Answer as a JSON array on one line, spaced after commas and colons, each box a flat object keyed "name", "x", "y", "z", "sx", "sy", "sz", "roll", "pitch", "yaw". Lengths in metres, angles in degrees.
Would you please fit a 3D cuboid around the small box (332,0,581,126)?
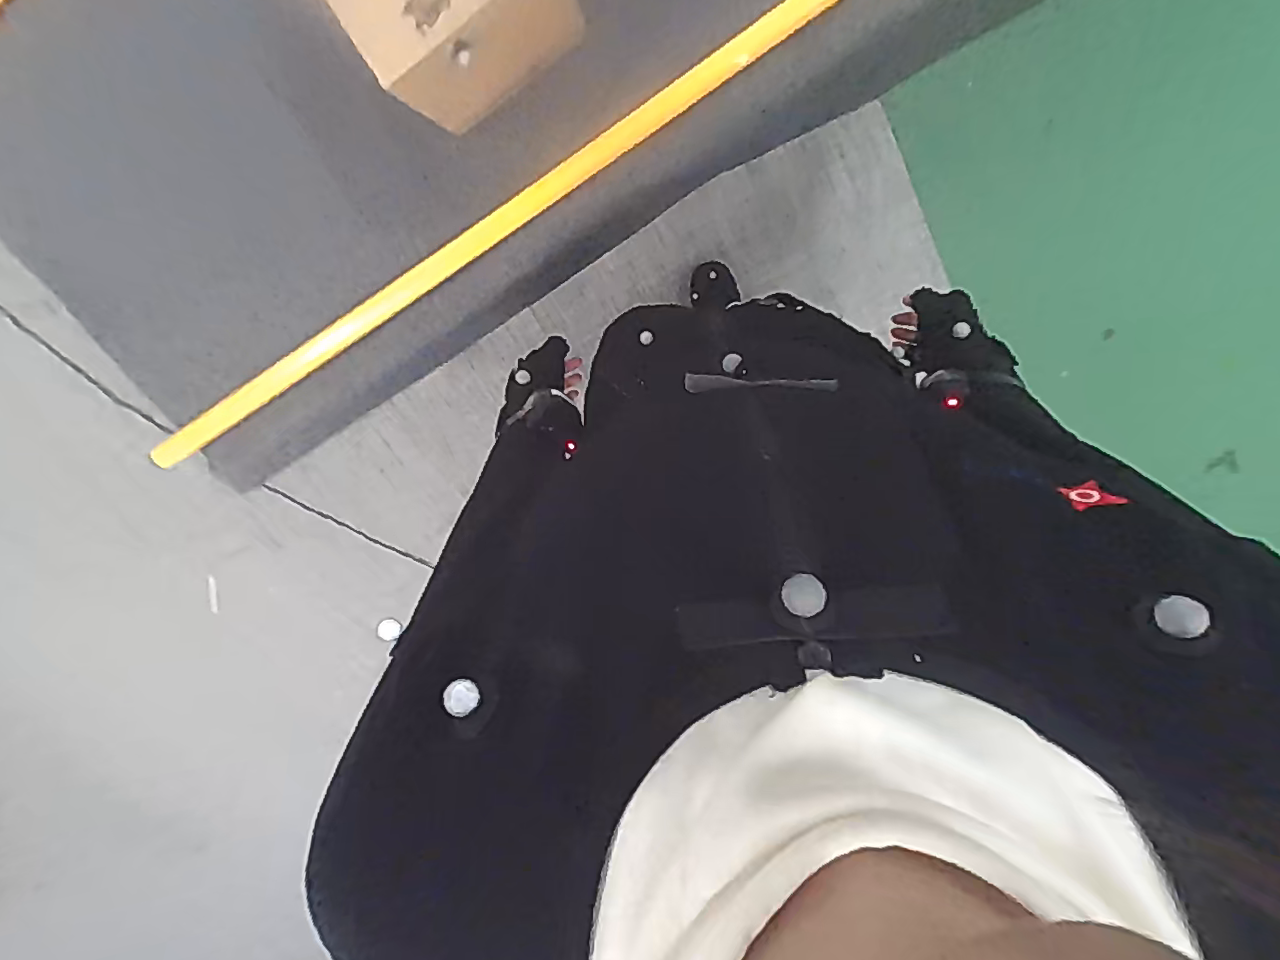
[{"name": "small box", "x": -0.170, "y": -0.445, "z": 0.454, "sx": 0.168, "sy": 0.176, "sz": 0.179, "roll": -29, "pitch": 107, "yaw": 14}]
